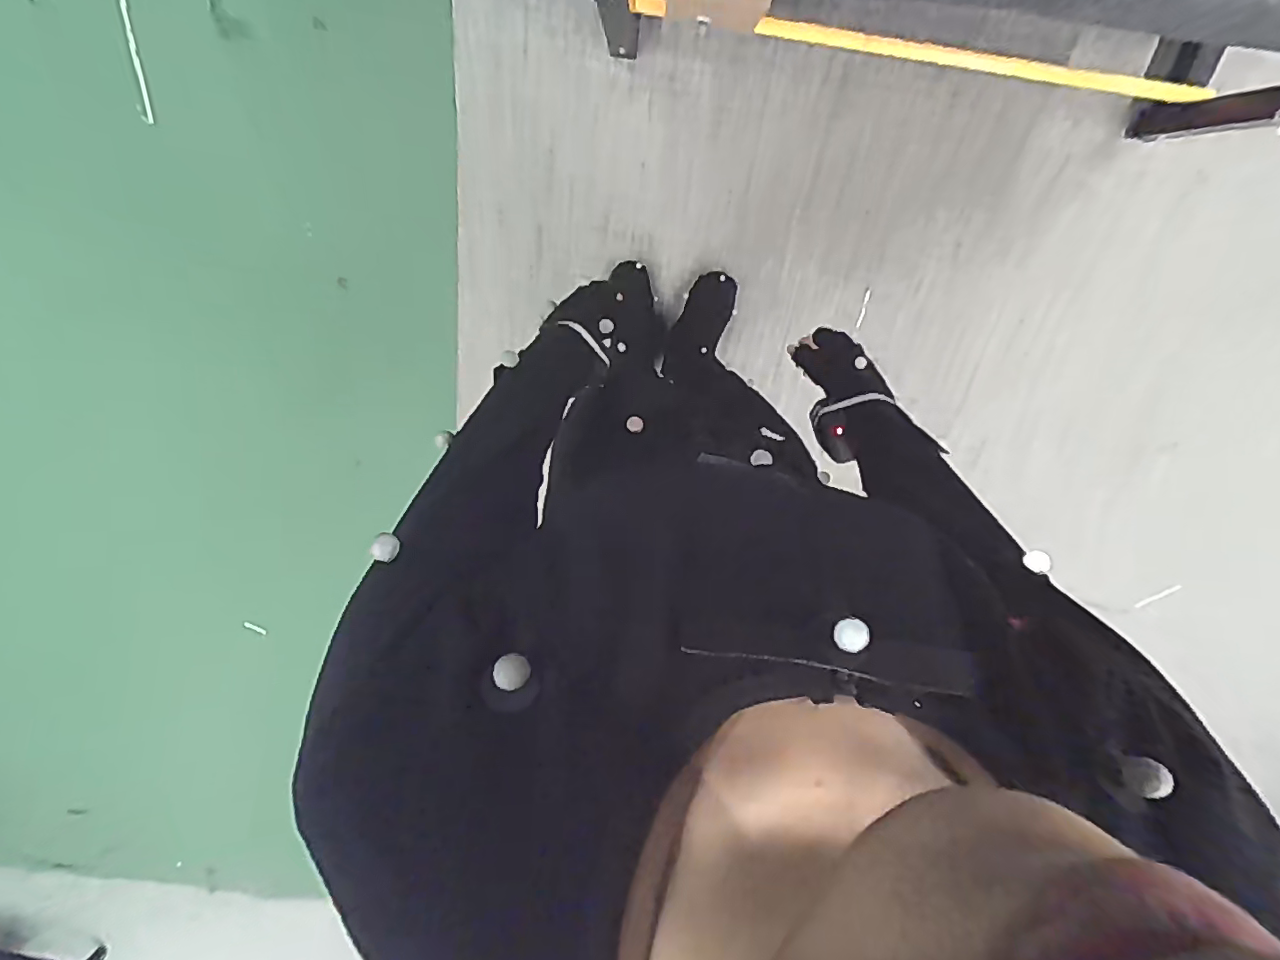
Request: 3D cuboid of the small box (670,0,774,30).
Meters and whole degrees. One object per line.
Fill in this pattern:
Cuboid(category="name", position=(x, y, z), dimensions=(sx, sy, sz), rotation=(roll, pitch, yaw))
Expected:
Cuboid(category="small box", position=(0.143, -0.881, 0.890), dimensions=(0.168, 0.176, 0.179), rotation=(6, 119, -3))
